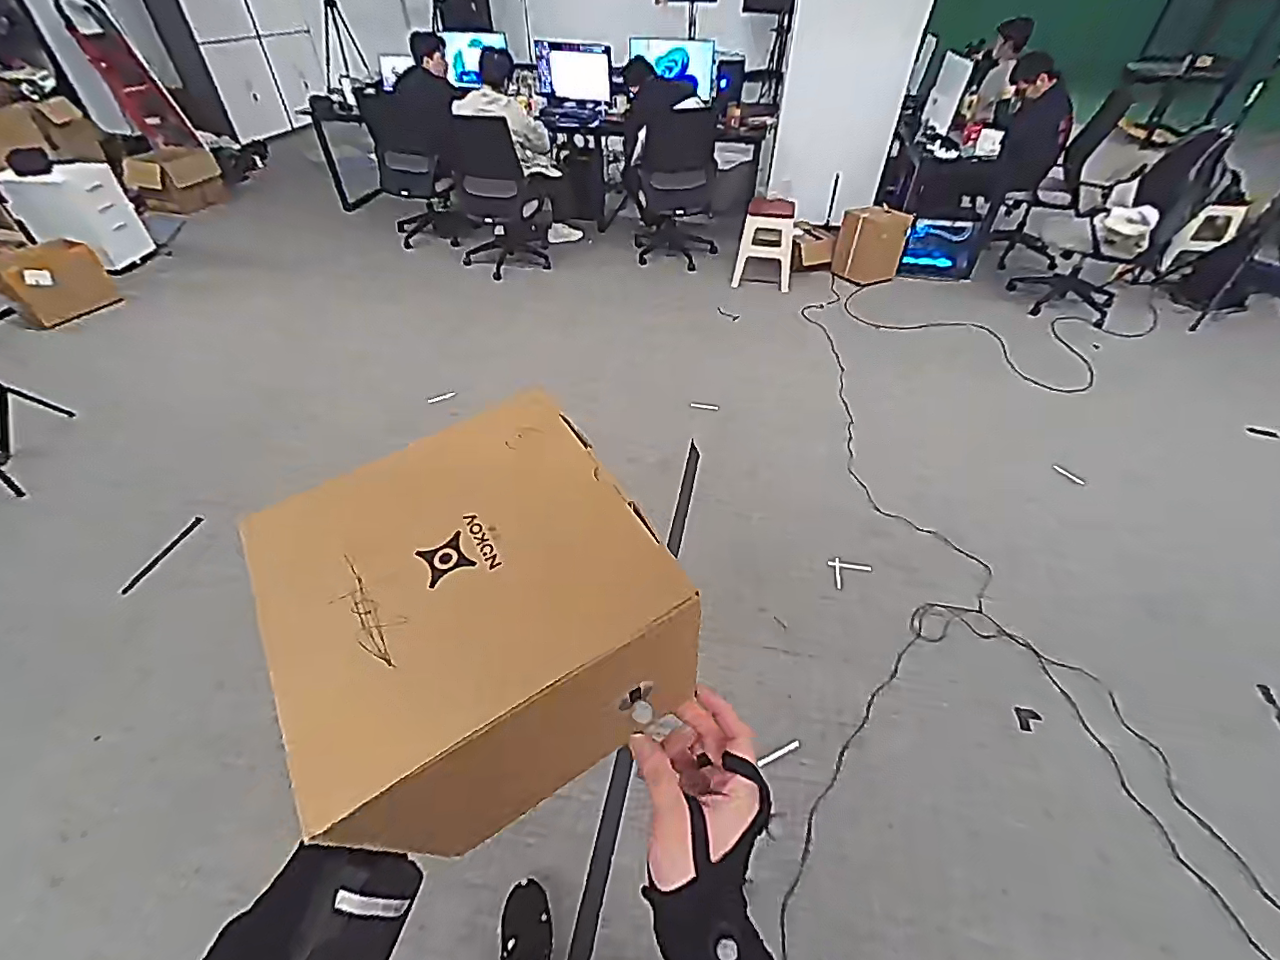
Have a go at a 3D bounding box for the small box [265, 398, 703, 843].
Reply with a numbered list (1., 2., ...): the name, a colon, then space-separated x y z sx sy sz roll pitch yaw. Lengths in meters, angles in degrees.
1. small box: -0.080 0.088 0.334 0.179 0.176 0.168 -29 56 -16
